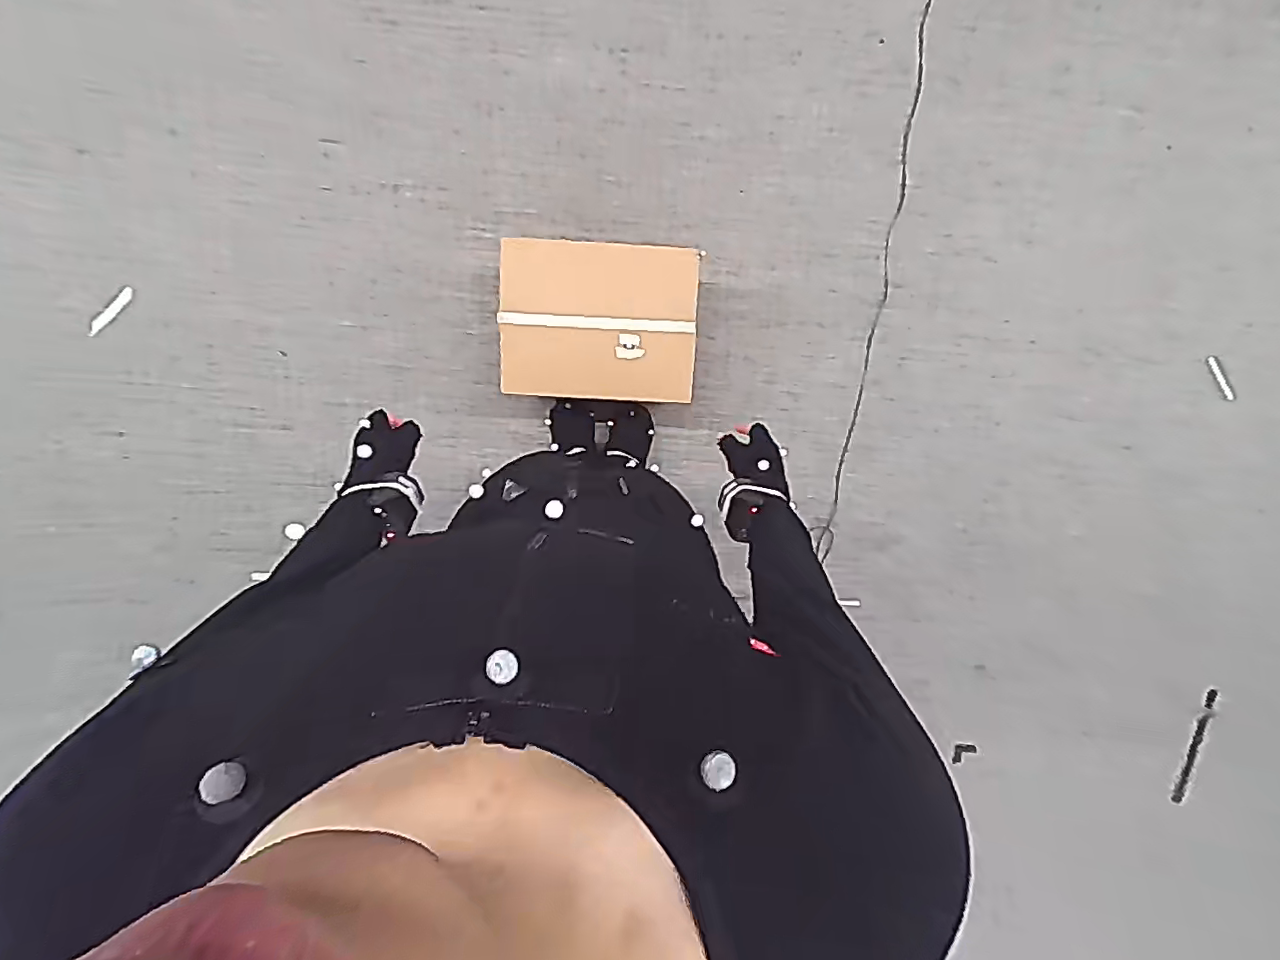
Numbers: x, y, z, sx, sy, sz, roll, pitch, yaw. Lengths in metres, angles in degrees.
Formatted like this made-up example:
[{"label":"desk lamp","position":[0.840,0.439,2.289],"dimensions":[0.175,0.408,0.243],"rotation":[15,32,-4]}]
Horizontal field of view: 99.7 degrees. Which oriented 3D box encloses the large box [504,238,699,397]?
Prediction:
[{"label":"large box","position":[-0.088,-0.360,1.272],"dimensions":[0.408,0.320,0.320],"rotation":[2,101,-3]}]
